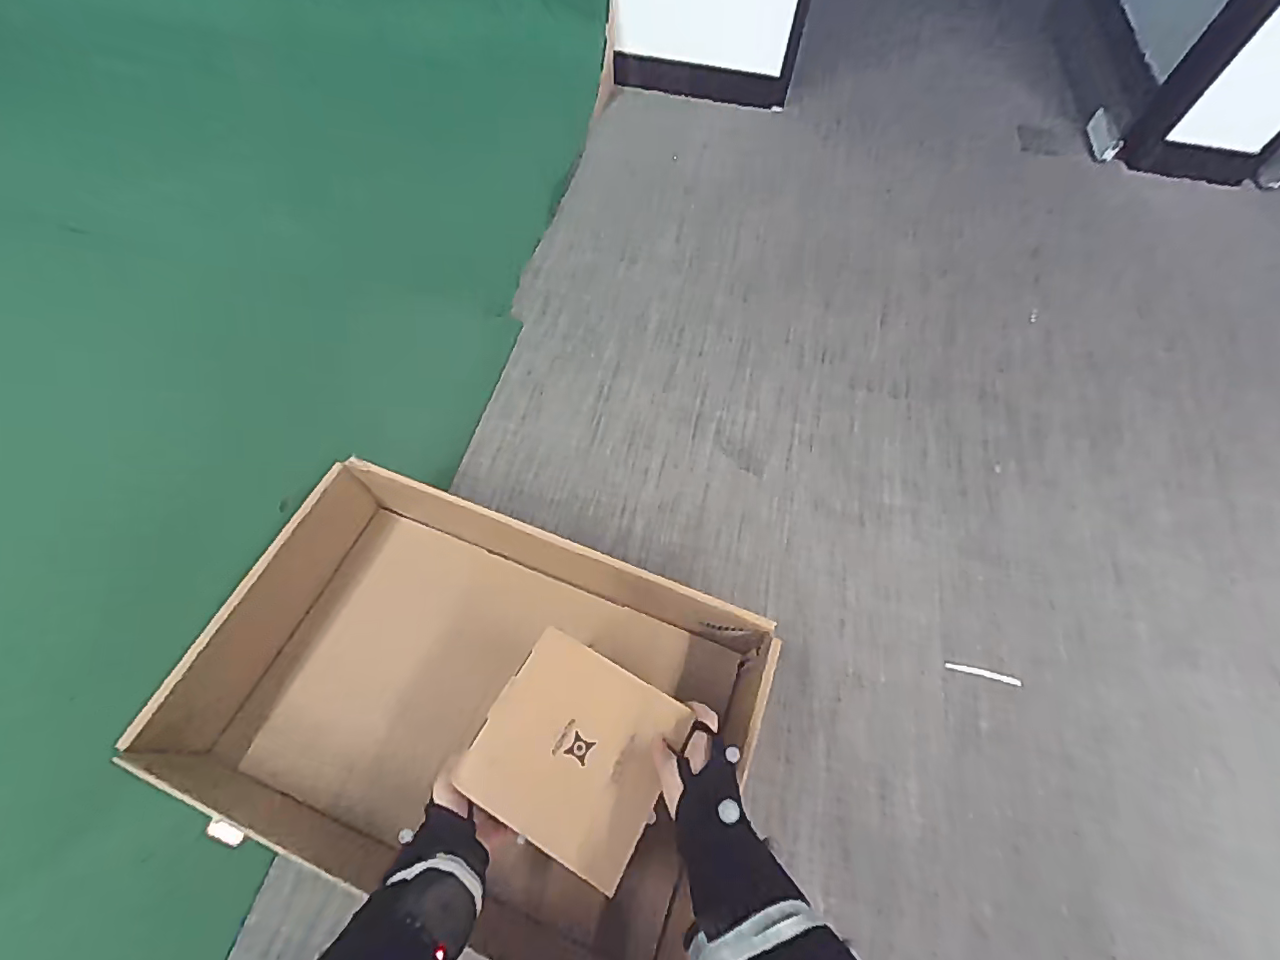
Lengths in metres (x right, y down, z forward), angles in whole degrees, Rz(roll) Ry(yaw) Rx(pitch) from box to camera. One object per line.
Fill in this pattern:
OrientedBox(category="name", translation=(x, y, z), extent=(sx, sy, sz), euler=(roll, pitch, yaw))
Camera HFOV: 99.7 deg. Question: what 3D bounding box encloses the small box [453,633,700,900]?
OrientedBox(category="small box", translation=(-0.059, 0.294, 0.573), extent=(0.179, 0.176, 0.168), euler=(28, 64, 12))
